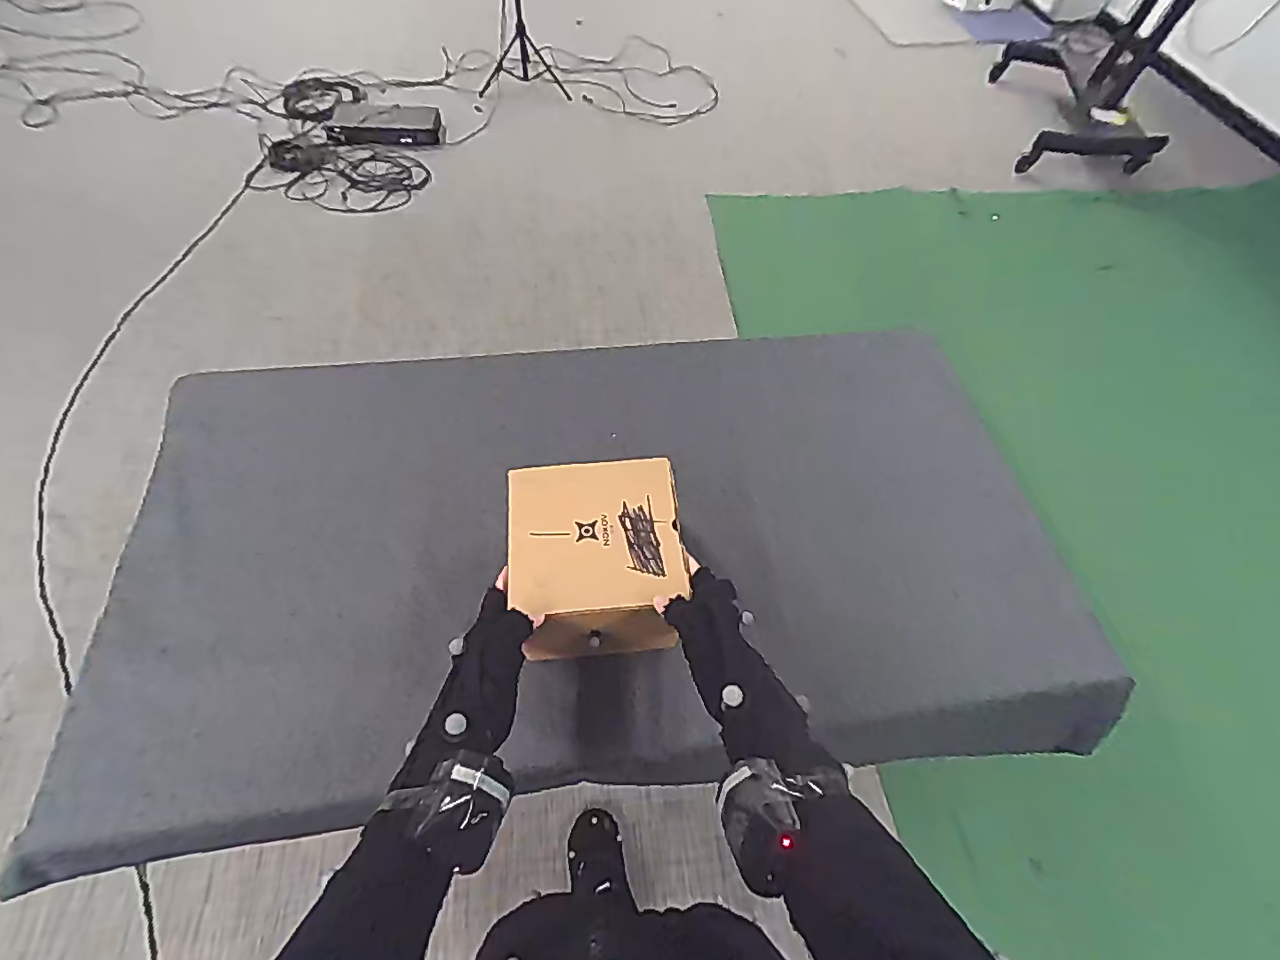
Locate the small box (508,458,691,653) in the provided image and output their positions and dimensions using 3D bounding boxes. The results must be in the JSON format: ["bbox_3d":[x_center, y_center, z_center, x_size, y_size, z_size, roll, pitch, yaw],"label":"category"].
[{"bbox_3d":[-0.048,0.090,0.616,0.179,0.176,0.168,-4,60,-5],"label":"small box"}]
